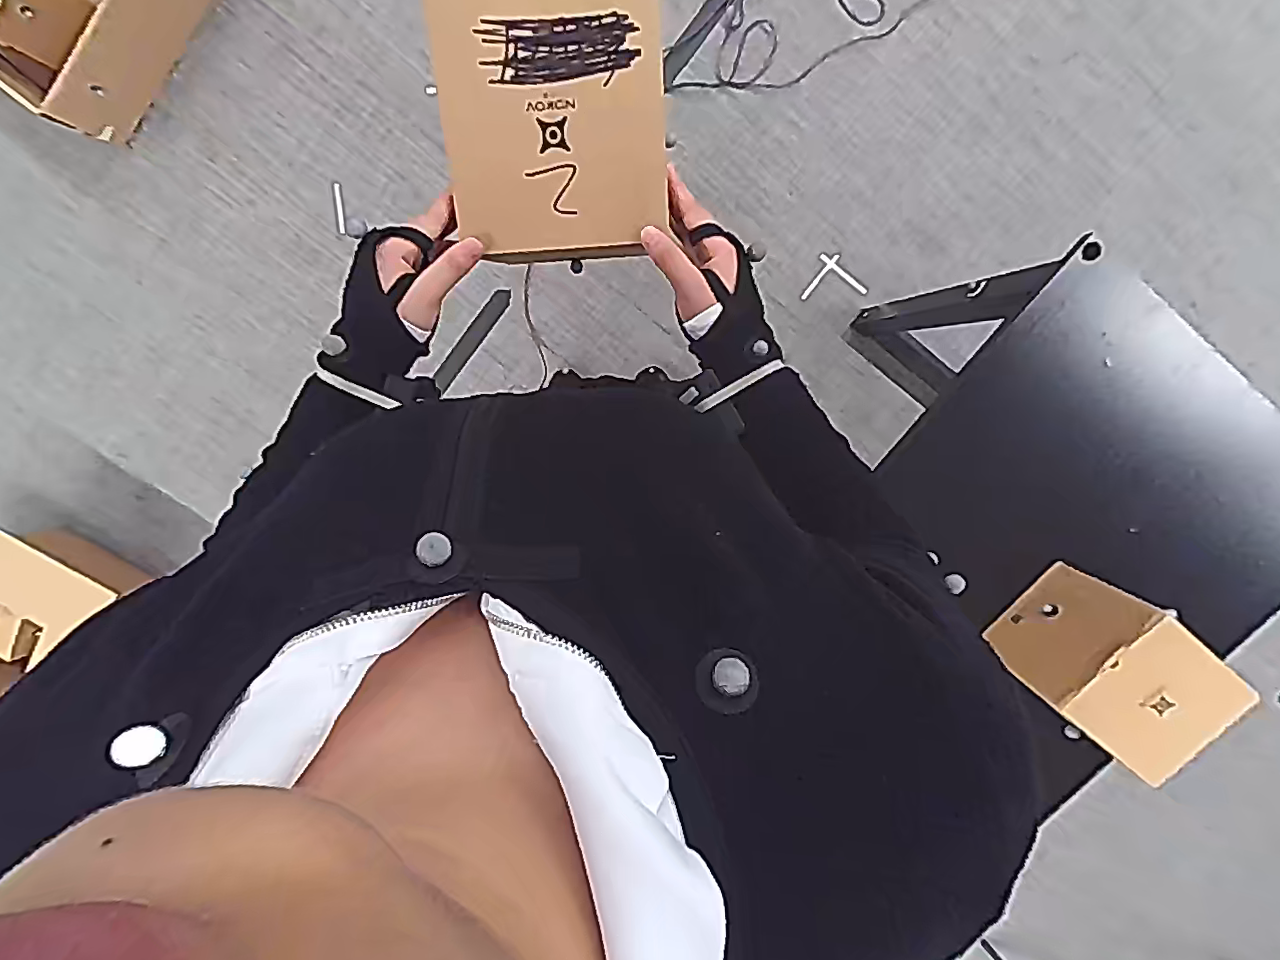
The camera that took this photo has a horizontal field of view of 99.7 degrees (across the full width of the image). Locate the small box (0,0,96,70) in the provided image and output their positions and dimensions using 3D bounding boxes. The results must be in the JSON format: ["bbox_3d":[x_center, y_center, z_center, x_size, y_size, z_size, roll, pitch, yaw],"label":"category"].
[{"bbox_3d":[-1.348,-1.043,1.160,0.168,0.176,0.179,39,97,-10],"label":"small box"}]

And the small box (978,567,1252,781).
[{"bbox_3d":[0.612,0.245,0.723,0.179,0.176,0.168,38,99,-7],"label":"small box"}]
